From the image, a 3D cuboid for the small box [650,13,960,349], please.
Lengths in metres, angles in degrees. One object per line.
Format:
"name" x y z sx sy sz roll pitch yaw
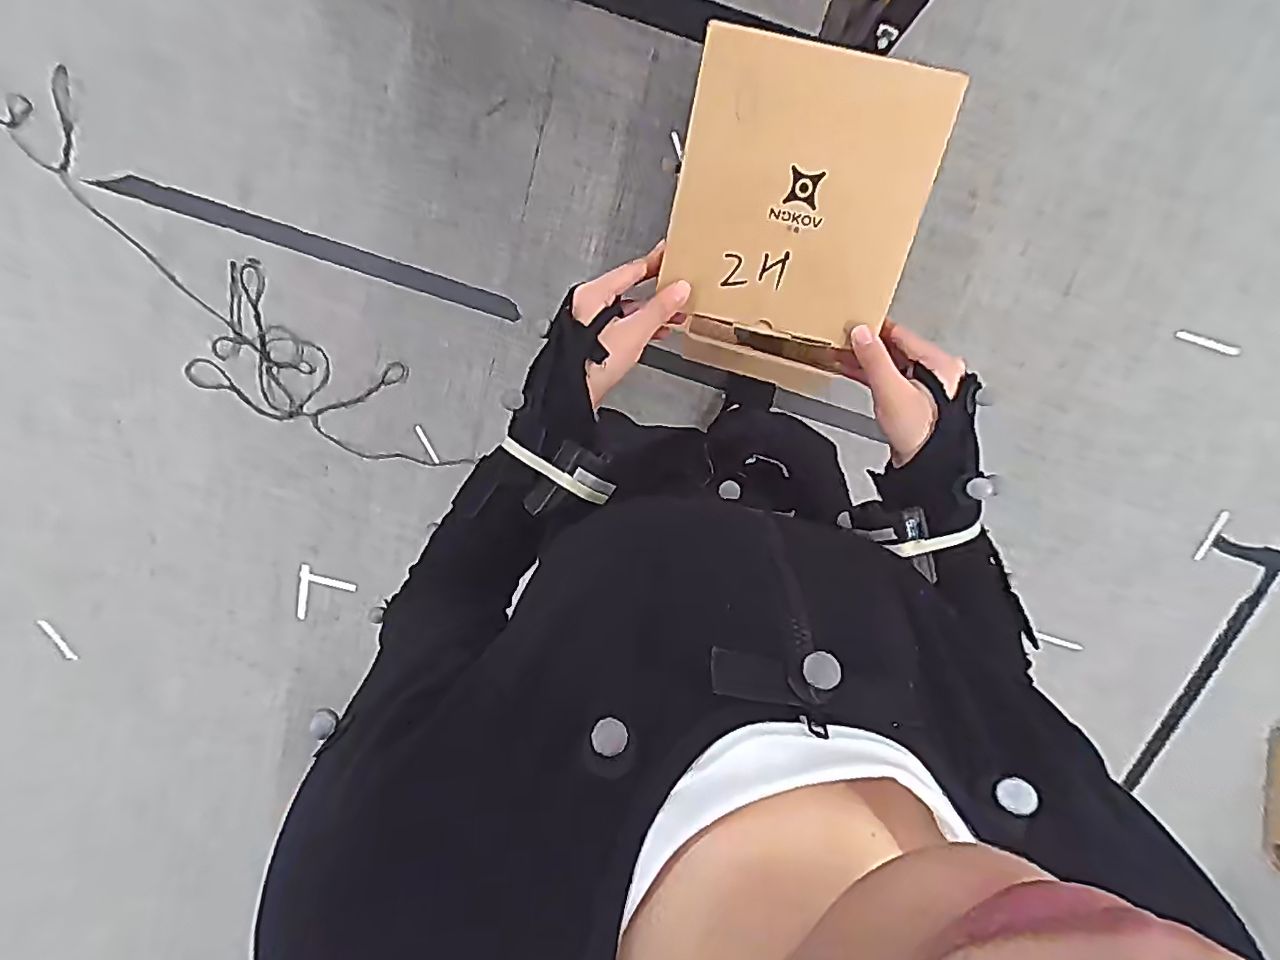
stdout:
"small box" 0.108 -0.219 0.435 0.168 0.176 0.179 12 112 1
